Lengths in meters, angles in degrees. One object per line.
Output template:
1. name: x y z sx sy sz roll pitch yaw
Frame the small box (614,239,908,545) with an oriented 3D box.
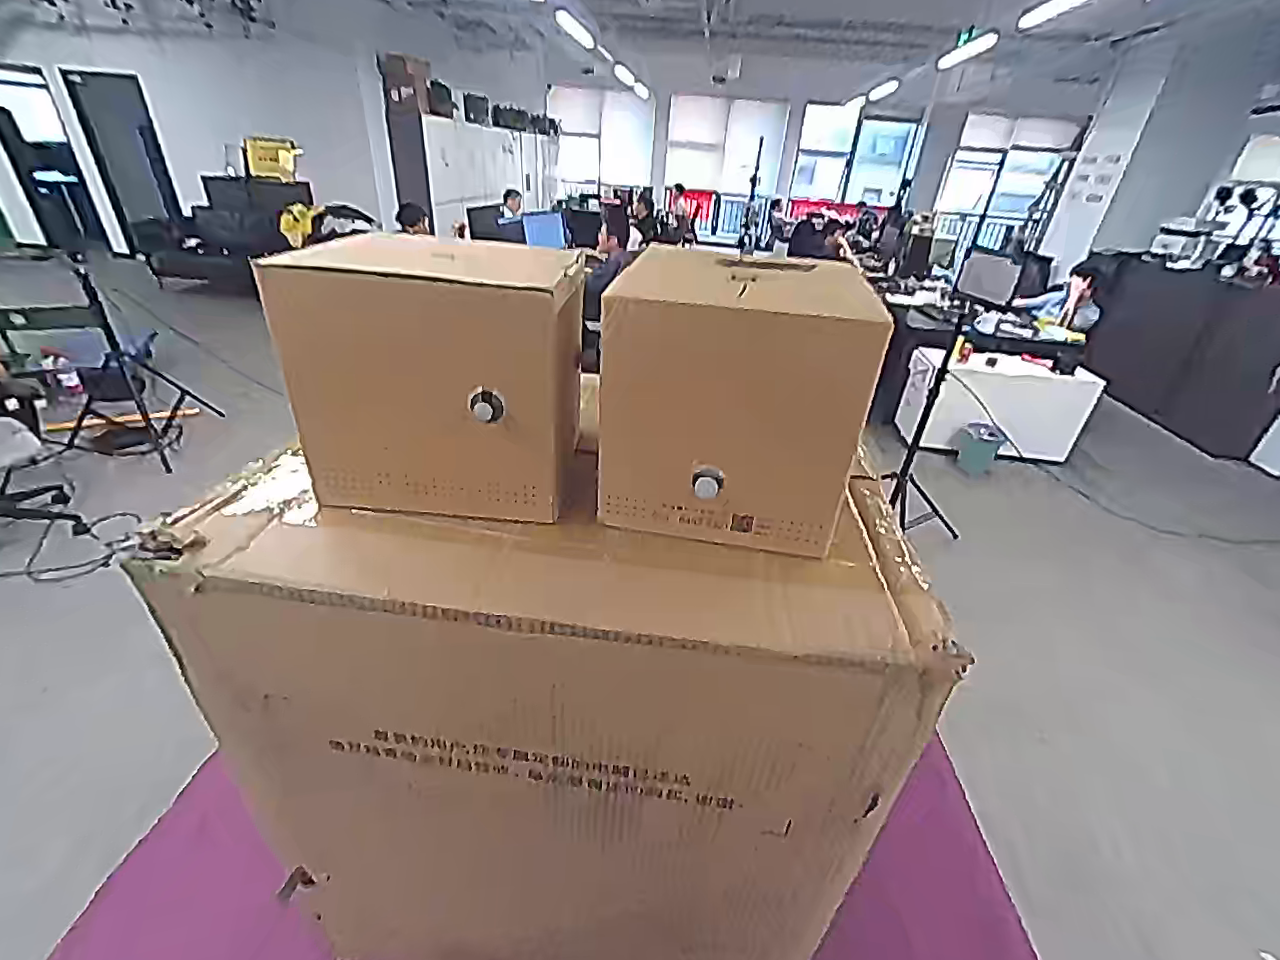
1. small box: 0.076 -0.077 0.411 0.168 0.176 0.179 8 31 8

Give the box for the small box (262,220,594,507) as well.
1. small box: -0.132 -0.092 0.413 0.179 0.176 0.168 4 29 -2
